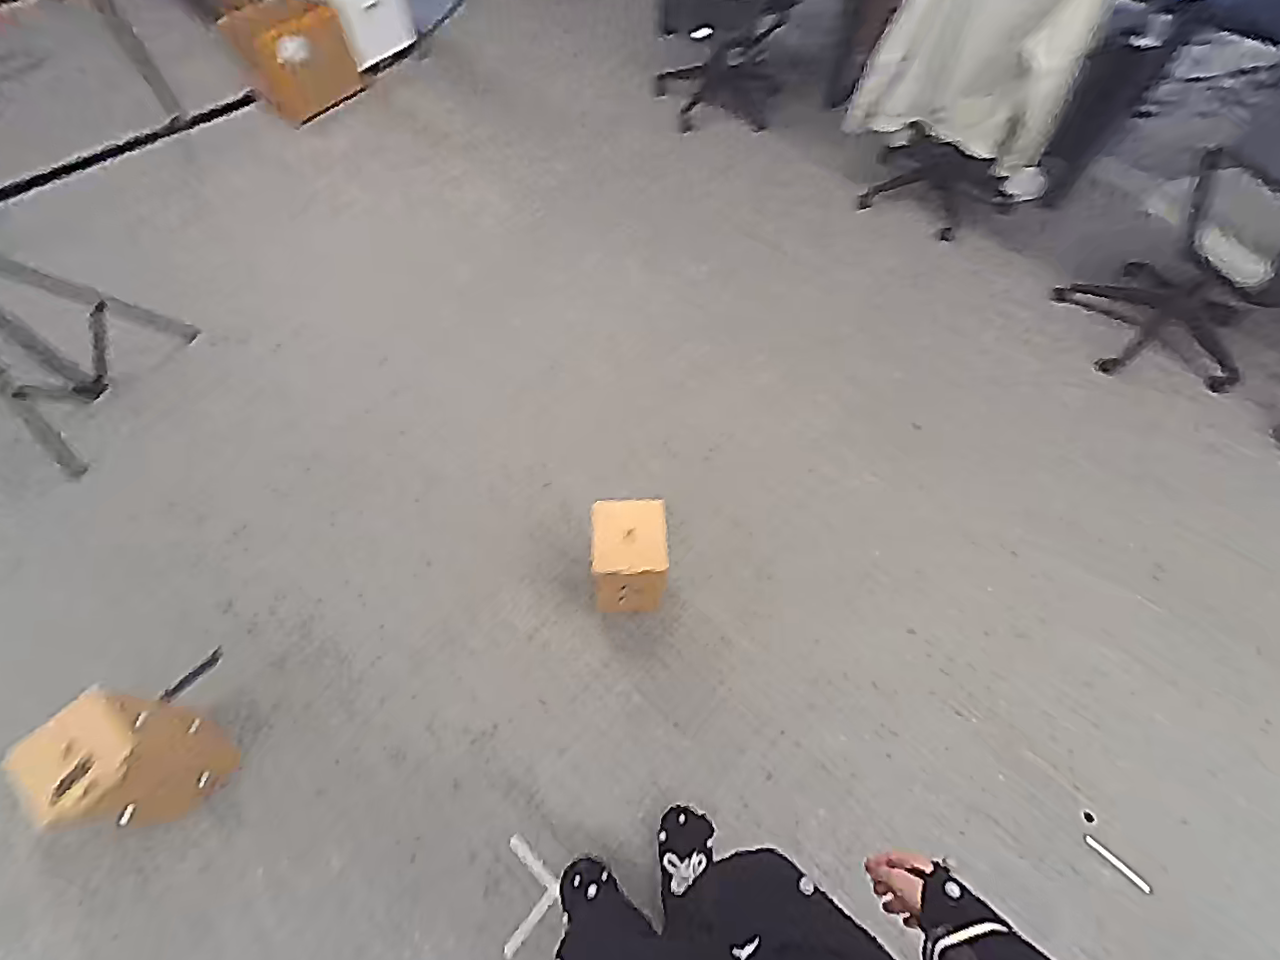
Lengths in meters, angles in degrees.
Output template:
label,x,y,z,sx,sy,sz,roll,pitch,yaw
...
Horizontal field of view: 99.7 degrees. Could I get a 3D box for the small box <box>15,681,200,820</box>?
label,x,y,z,sx,sy,sz,roll,pitch,yaw
small box,-1.030,0.529,1.065,0.179,0.176,0.168,37,65,18

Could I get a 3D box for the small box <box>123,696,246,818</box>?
label,x,y,z,sx,sy,sz,roll,pitch,yaw
small box,-1.037,0.614,1.206,0.179,0.176,0.168,35,65,19

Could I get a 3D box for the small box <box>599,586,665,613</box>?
label,x,y,z,sx,sy,sz,roll,pitch,yaw
small box,-0.025,0.242,1.437,0.168,0.176,0.179,-1,60,-3

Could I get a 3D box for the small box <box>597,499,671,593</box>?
label,x,y,z,sx,sy,sz,roll,pitch,yaw
small box,-0.020,0.161,1.295,0.168,0.176,0.179,-1,62,-3
